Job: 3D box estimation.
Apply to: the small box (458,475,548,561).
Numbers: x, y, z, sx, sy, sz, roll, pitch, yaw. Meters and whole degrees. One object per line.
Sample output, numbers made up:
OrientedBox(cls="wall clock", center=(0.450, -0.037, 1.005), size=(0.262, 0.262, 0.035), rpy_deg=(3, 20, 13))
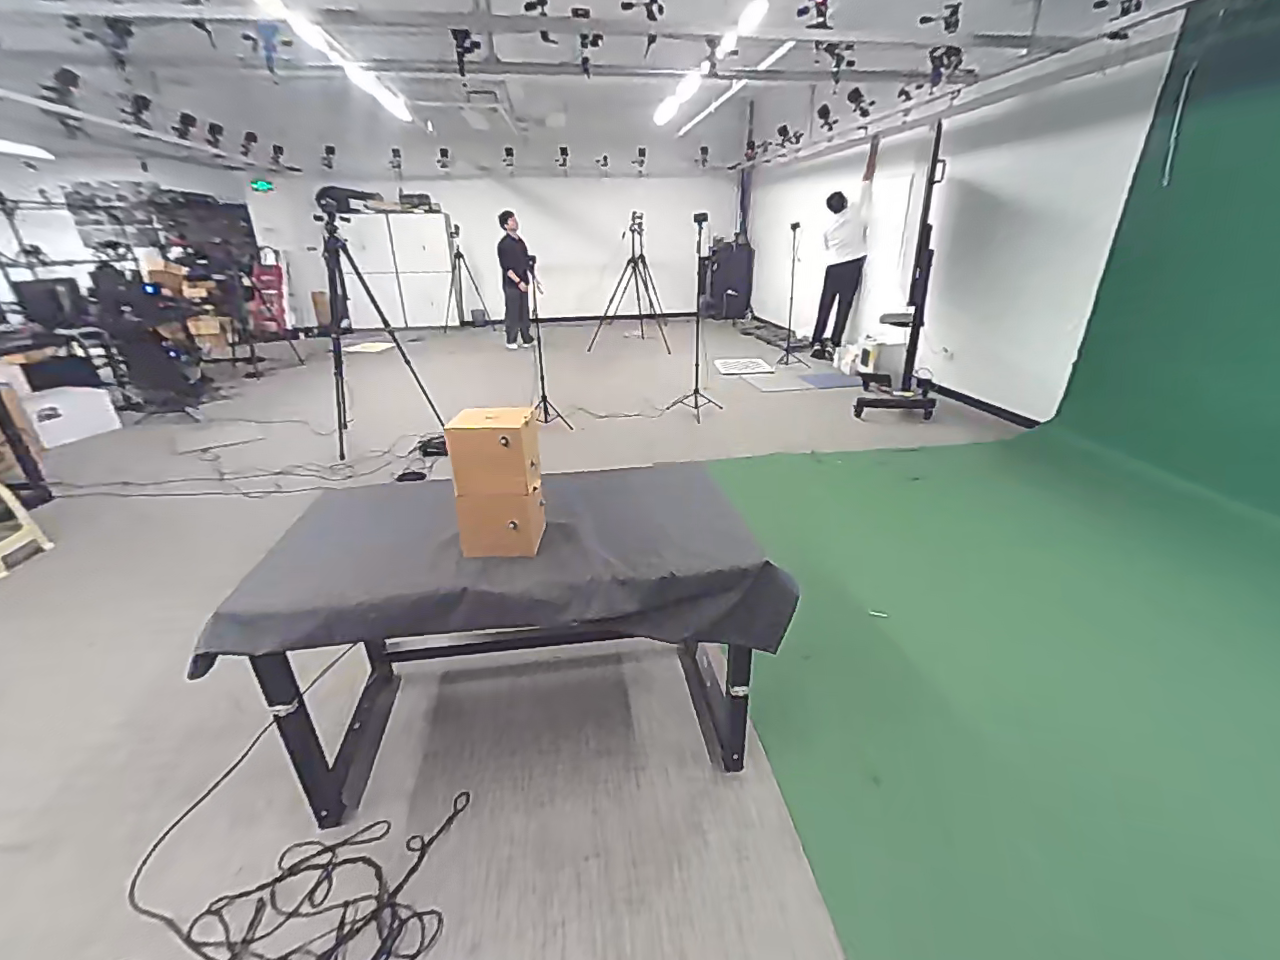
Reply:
OrientedBox(cls="small box", center=(-0.330, 0.092, 1.349), size=(0.179, 0.176, 0.168), rpy_deg=(-2, 22, 1))

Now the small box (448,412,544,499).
OrientedBox(cls="small box", center=(-0.334, -0.060, 1.290), size=(0.179, 0.176, 0.168), rpy_deg=(0, 22, 1))
